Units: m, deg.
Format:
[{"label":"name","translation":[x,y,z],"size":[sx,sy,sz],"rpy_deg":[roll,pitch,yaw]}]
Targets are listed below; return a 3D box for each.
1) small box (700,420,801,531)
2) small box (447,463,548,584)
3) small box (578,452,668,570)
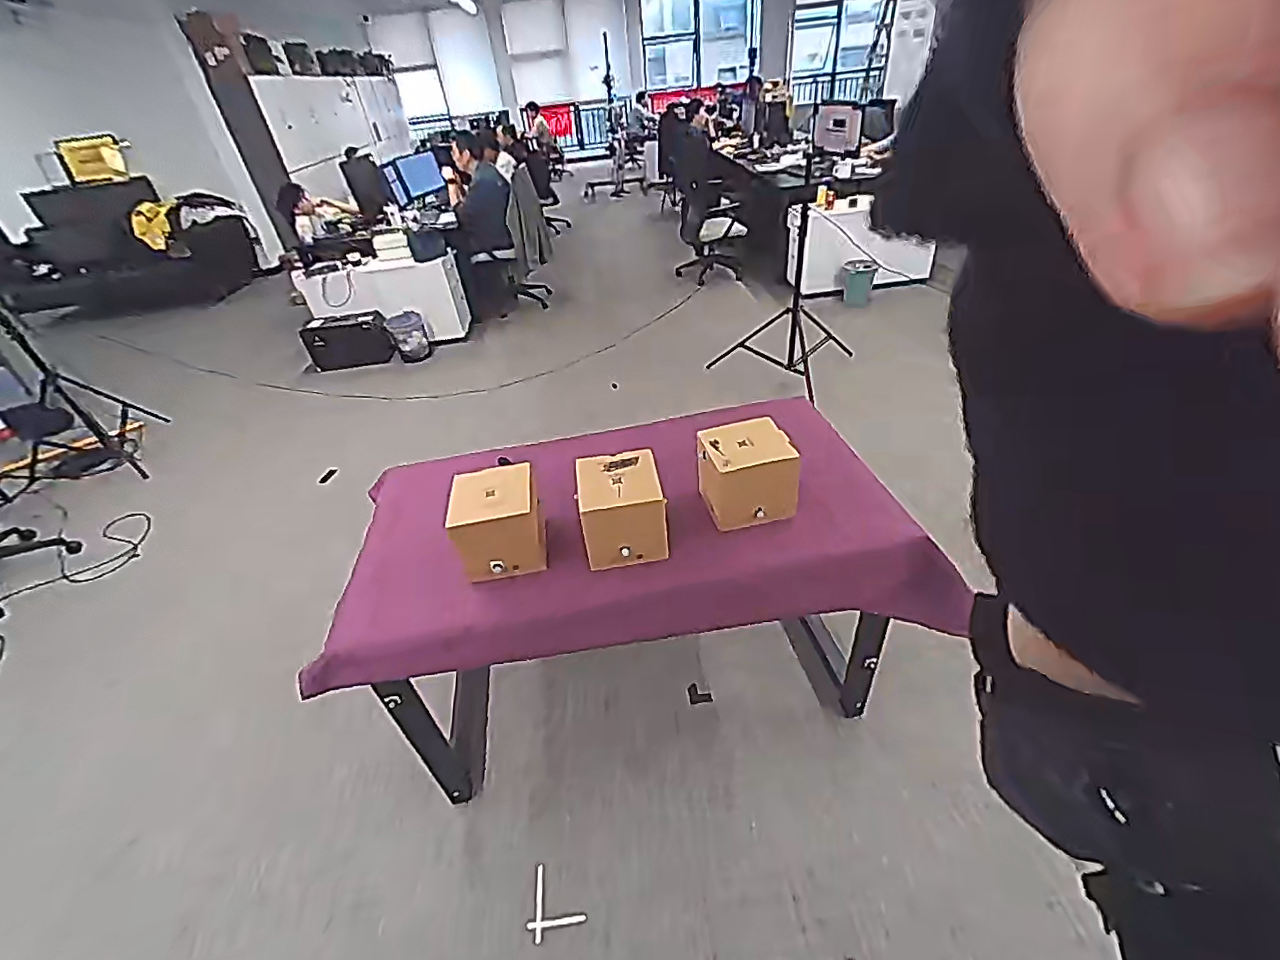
[{"label":"small box","translation":[0.236,-0.009,1.201],"size":[0.179,0.176,0.168],"rpy_deg":[-11,37,-6]},{"label":"small box","translation":[-0.294,0.091,1.150],"size":[0.168,0.176,0.179],"rpy_deg":[-11,38,-4]},{"label":"small box","translation":[-0.037,0.064,1.144],"size":[0.168,0.176,0.179],"rpy_deg":[-9,37,-2]}]
